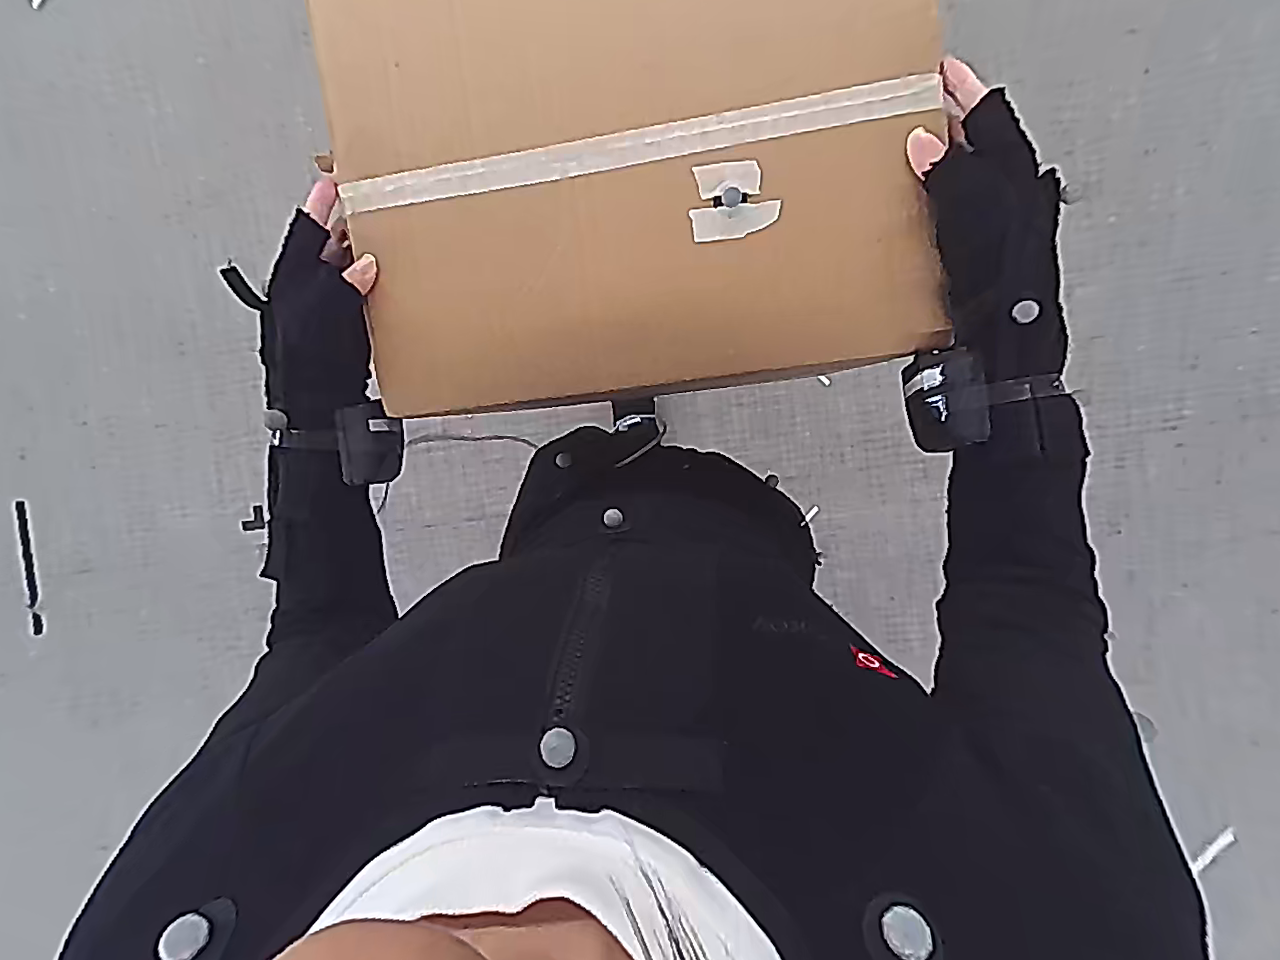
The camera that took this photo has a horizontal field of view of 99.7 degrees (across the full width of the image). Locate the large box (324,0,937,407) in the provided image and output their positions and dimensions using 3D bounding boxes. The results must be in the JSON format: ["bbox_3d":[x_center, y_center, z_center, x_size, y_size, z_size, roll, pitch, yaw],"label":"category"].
[{"bbox_3d":[0.002,-0.252,0.522,0.408,0.320,0.320,-7,98,5],"label":"large box"}]
